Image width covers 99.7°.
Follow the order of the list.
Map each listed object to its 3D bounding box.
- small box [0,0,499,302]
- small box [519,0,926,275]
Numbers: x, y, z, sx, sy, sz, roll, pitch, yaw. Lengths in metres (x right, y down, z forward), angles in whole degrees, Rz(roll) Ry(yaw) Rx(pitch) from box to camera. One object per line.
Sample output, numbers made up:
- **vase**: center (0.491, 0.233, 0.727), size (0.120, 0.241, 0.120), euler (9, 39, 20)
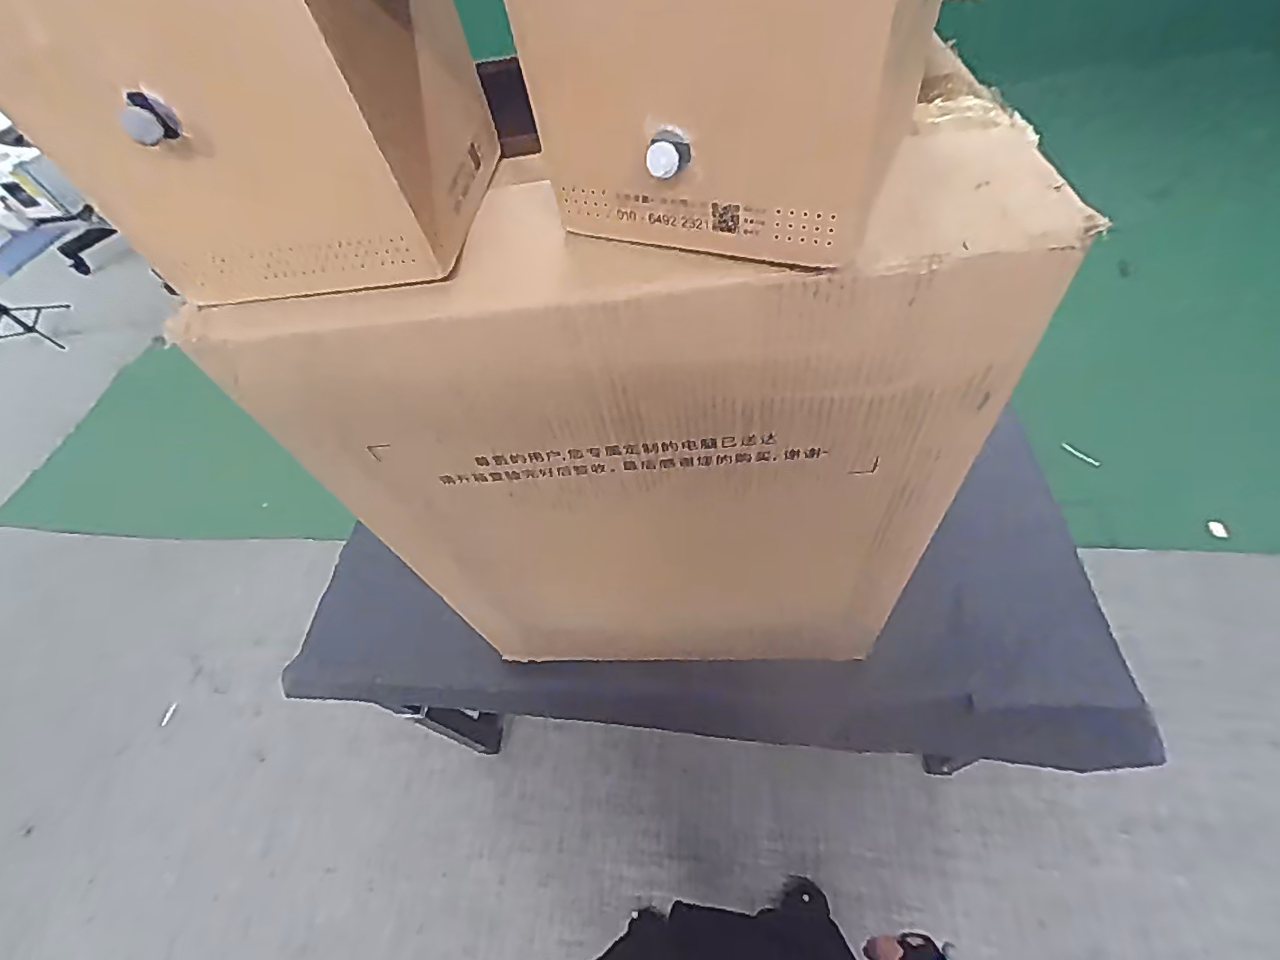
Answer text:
- **small box**: center (-0.207, -0.224, 0.316), size (0.179, 0.176, 0.168), euler (-4, 55, 9)
- **small box**: center (0.049, -0.237, 0.277), size (0.168, 0.176, 0.179), euler (17, 60, 21)
